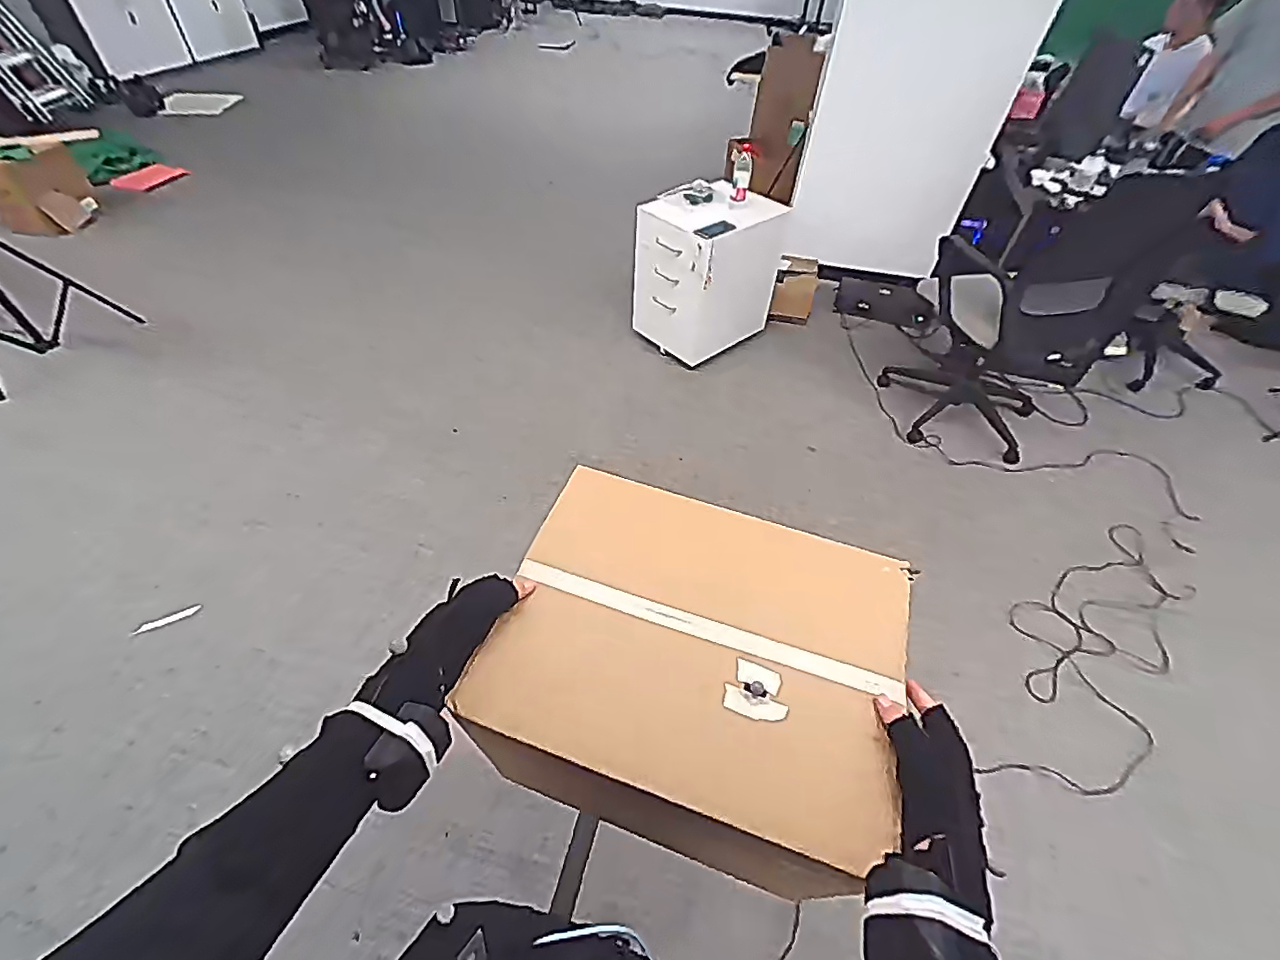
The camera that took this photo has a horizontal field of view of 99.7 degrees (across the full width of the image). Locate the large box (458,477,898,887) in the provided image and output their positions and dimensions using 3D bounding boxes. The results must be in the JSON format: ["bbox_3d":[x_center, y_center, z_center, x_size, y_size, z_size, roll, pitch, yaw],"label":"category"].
[{"bbox_3d":[0.052,0.251,0.678,0.408,0.320,0.320,17,53,9],"label":"large box"}]
